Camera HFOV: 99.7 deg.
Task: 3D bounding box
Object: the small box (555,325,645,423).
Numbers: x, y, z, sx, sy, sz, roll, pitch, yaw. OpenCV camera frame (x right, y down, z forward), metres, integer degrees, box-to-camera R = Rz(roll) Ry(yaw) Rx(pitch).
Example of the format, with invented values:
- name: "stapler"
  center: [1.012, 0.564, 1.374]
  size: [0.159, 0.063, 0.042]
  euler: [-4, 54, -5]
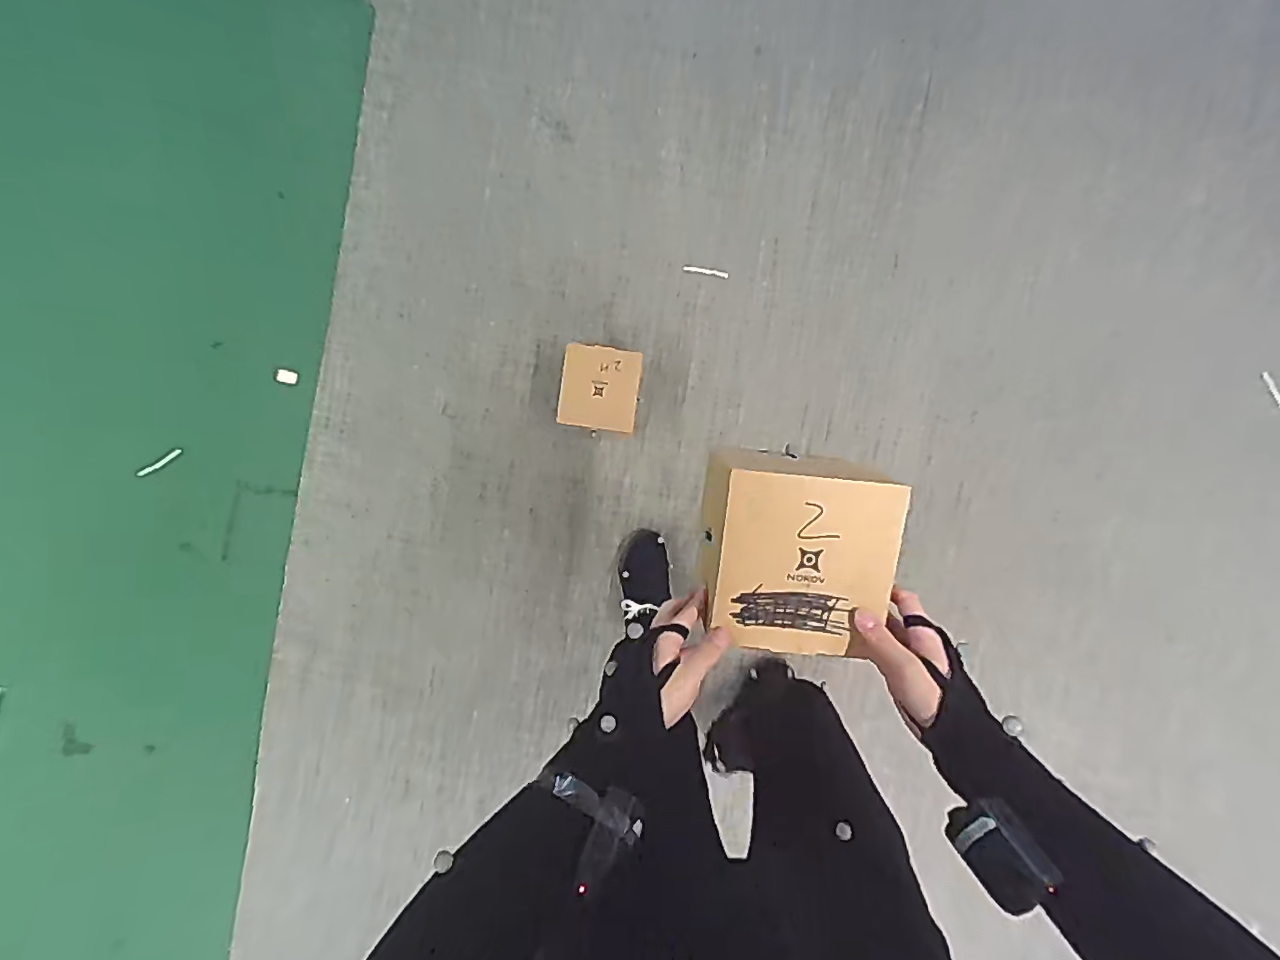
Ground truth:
- name: "small box"
  center: [-0.084, -0.227, 1.204]
  size: [0.168, 0.176, 0.179]
  euler: [10, 92, -1]
